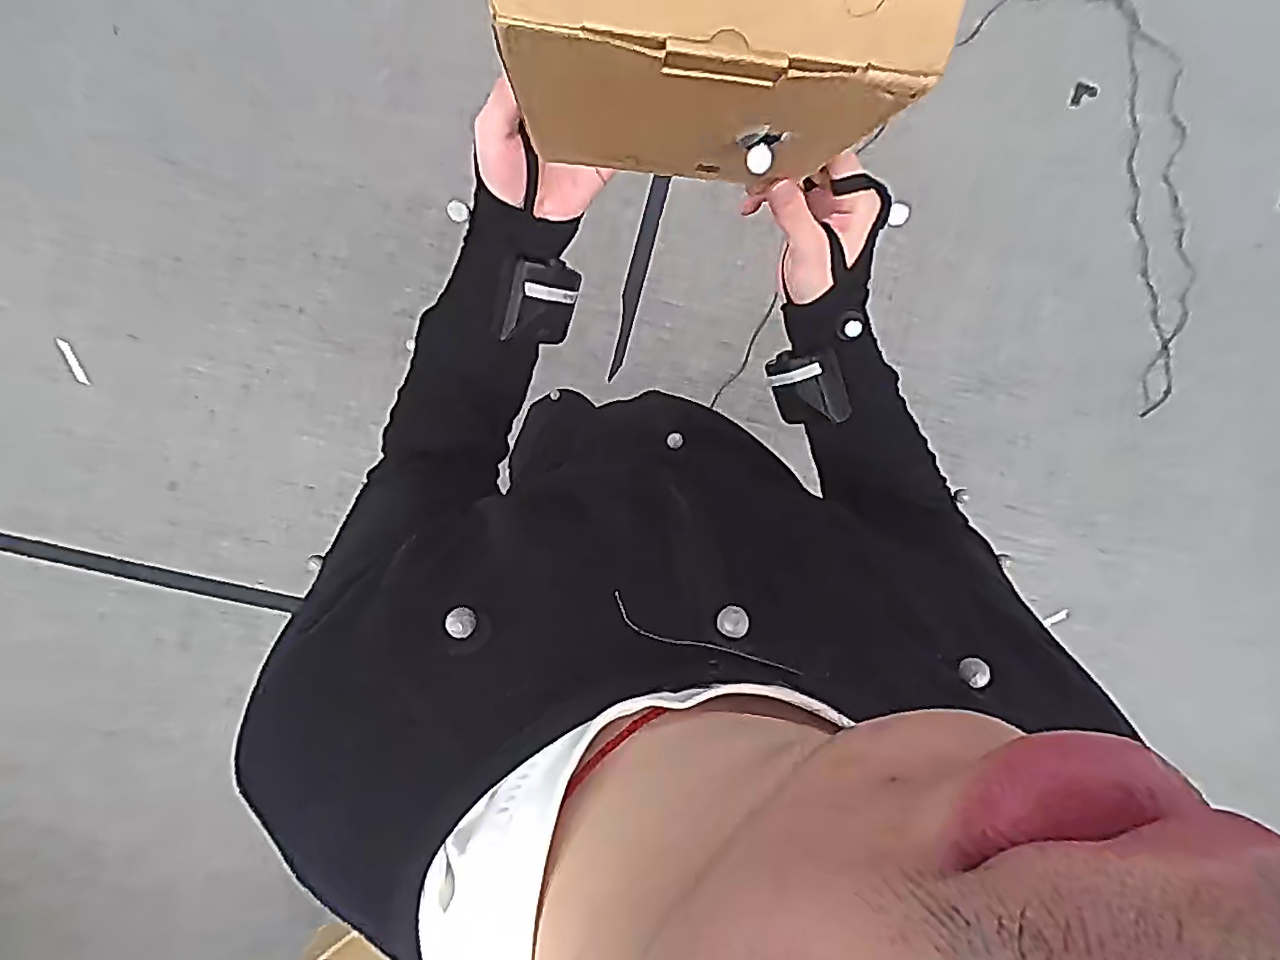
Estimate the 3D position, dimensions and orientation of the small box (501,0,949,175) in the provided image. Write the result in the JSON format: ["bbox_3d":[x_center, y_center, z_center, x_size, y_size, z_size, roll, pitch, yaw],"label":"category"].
[{"bbox_3d":[0.031,-0.261,0.252,0.168,0.176,0.179,2,106,-7],"label":"small box"}]
